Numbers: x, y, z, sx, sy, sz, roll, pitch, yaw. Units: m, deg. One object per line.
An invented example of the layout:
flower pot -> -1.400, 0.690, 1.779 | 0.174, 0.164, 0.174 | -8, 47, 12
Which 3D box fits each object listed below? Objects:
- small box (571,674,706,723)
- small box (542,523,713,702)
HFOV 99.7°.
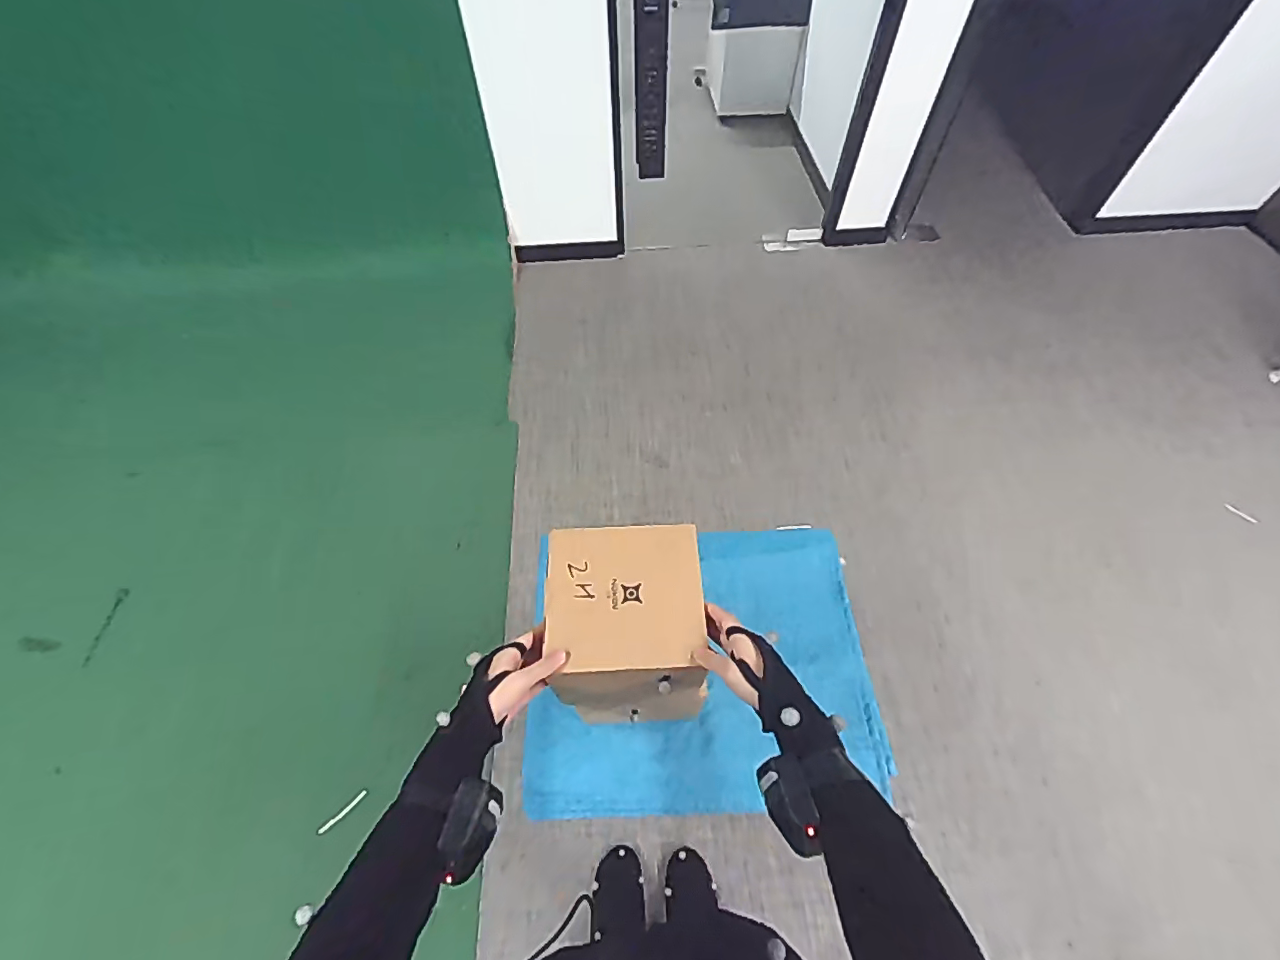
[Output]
small box -> -0.005, 0.252, 0.791 | 0.179, 0.176, 0.168 | -3, 56, -1
small box -> -0.015, 0.164, 0.653 | 0.179, 0.176, 0.168 | -2, 56, -1
